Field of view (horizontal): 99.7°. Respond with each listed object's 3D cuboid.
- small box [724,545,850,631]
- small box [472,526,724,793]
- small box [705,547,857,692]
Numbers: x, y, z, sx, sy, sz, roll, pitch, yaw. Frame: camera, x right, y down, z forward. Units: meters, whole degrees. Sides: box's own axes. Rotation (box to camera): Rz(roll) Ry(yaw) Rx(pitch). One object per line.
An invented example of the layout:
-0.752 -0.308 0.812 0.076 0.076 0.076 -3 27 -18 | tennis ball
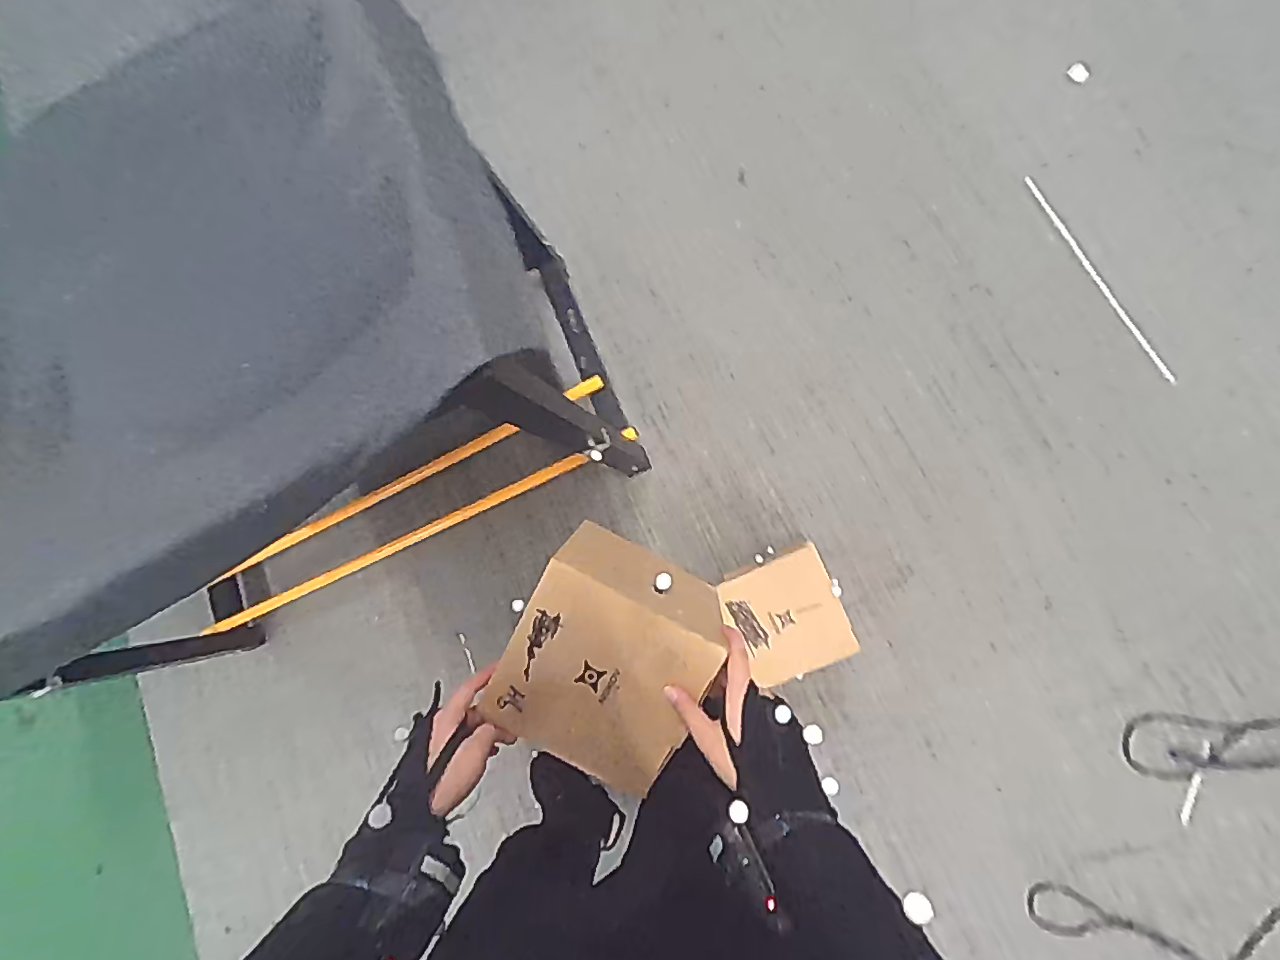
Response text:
0.274 0.230 1.035 0.179 0.176 0.168 -24 77 9 | small box
-0.035 0.164 0.553 0.179 0.176 0.168 27 98 -1 | small box
0.225 0.219 0.880 0.179 0.176 0.168 -26 78 9 | small box
